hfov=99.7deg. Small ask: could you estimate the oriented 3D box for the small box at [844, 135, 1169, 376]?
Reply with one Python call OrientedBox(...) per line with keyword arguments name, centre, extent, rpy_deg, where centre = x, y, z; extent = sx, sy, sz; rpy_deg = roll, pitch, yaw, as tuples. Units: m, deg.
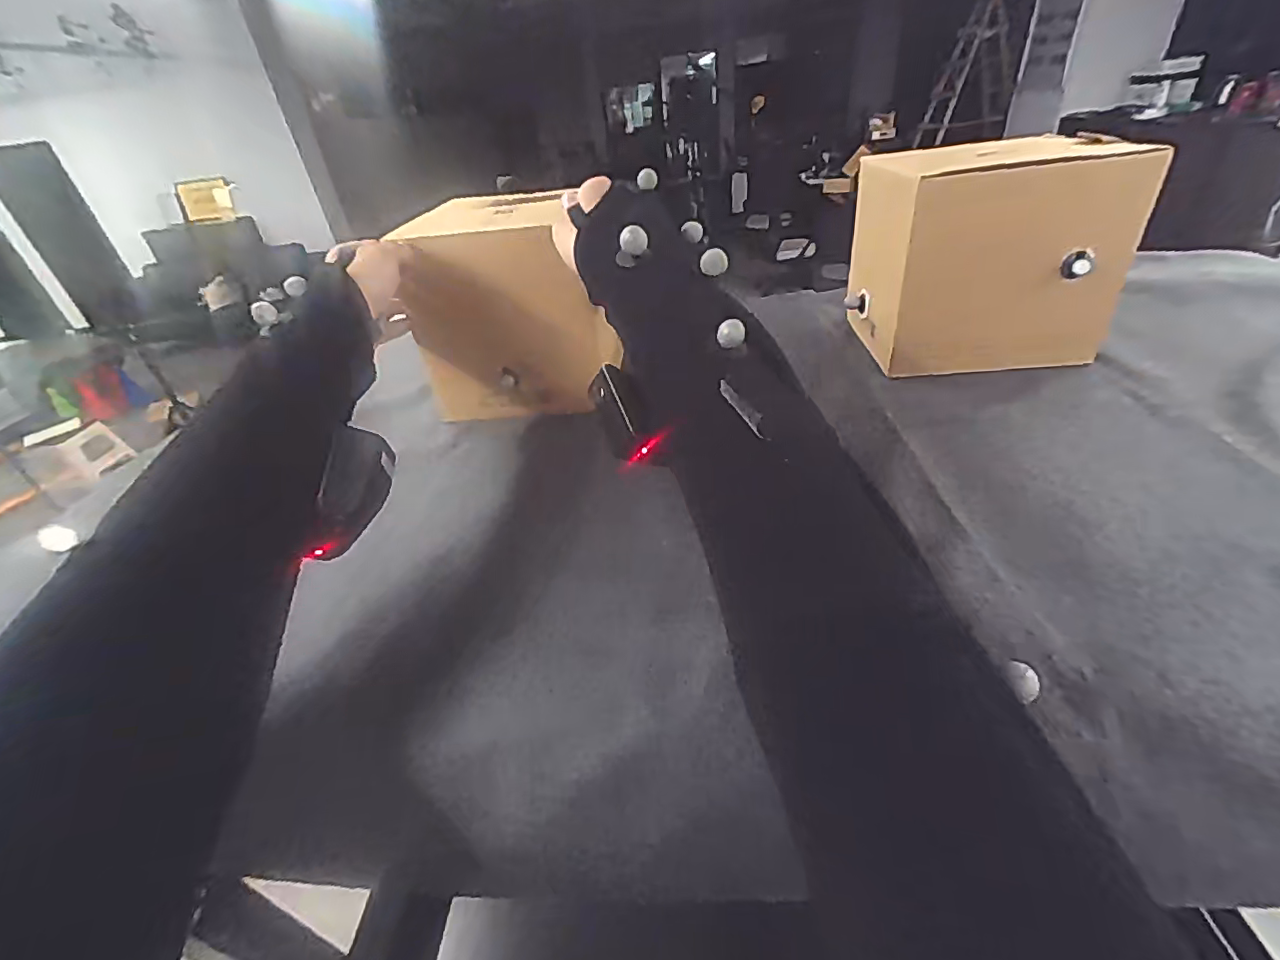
OrientedBox(name="small box", centre=(0.305, -0.208, 0.502), extent=(0.179, 0.176, 0.168), rpy_deg=(-3, 34, 7))
